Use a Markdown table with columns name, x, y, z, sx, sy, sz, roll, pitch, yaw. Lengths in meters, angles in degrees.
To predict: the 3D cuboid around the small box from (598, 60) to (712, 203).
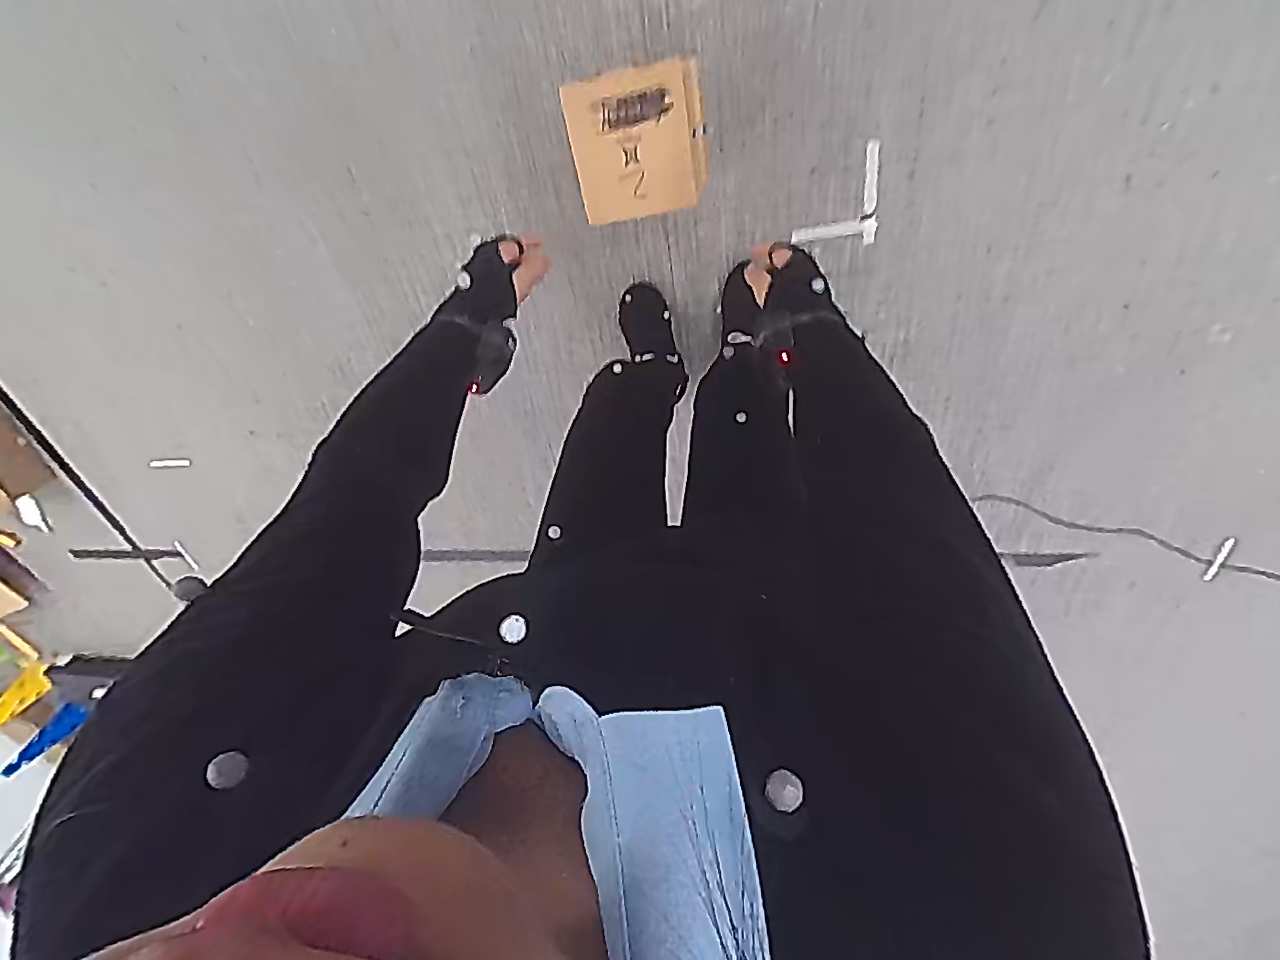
| name | x | y | z | sx | sy | sz | roll | pitch | yaw |
| --- | --- | --- | --- | --- | --- | --- | --- | --- | --- |
| small box | 0.035 | -0.599 | 0.937 | 0.168 | 0.176 | 0.179 | -4 | 124 | 12 |

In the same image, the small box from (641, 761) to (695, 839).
| name | x | y | z | sx | sy | sz | roll | pitch | yaw |
| --- | --- | --- | --- | --- | --- | --- | --- | --- | --- |
| small box | 0.101 | 1.105 | 1.869 | 0.168 | 0.176 | 0.179 | -1 | 124 | 9 |
